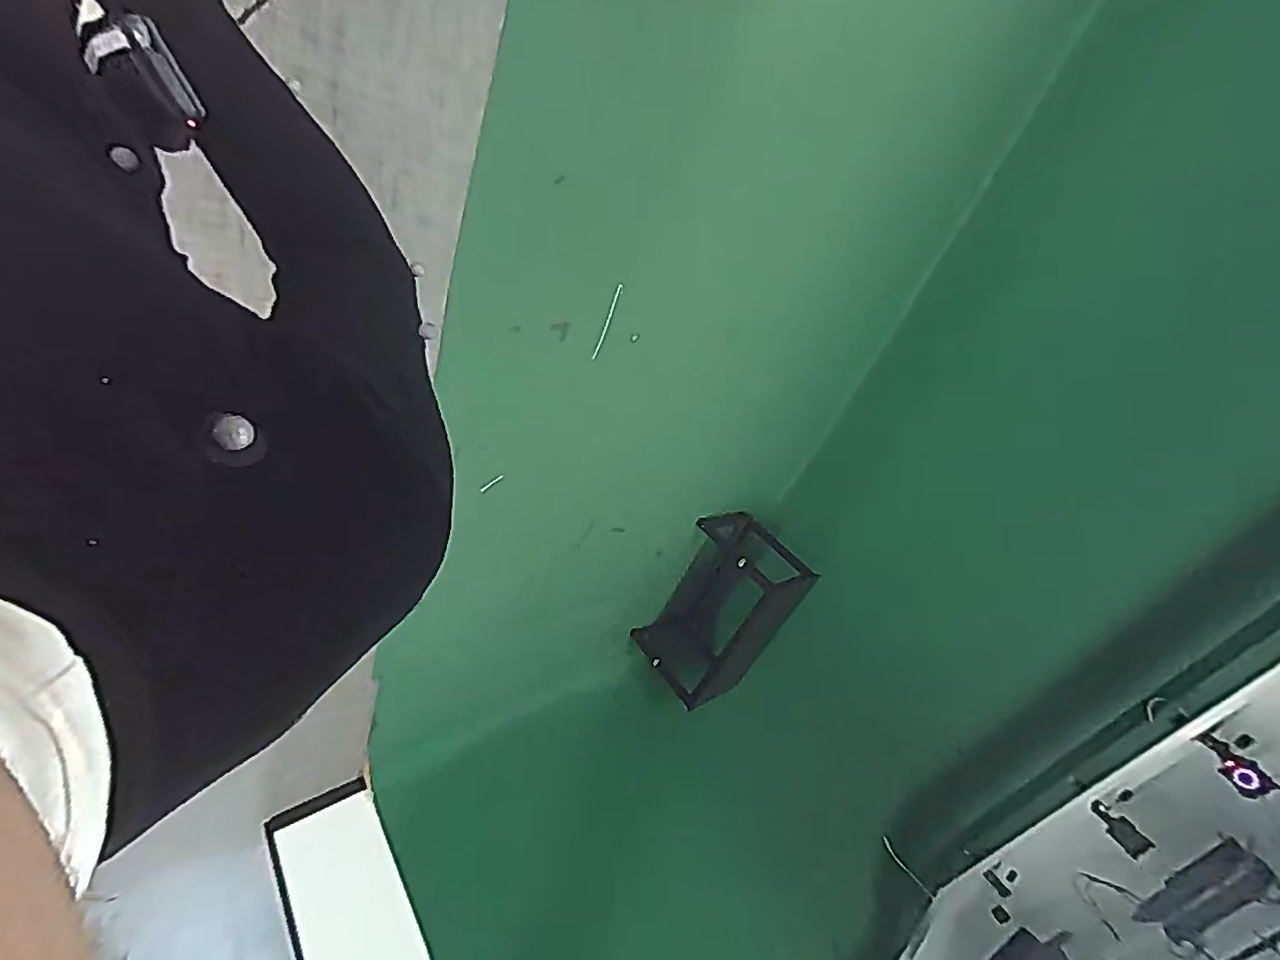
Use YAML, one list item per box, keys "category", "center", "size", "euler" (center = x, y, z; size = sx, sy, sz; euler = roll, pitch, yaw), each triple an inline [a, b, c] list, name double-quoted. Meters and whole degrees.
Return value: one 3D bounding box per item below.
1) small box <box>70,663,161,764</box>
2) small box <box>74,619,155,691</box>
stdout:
- category: "small box"
  center: [-1.458, 0.642, 1.505]
  size: [0.168, 0.176, 0.179]
  euler: [5, 122, -47]
- category: "small box"
  center: [-1.548, 0.541, 1.596]
  size: [0.168, 0.176, 0.179]
  euler: [1, 125, -44]
